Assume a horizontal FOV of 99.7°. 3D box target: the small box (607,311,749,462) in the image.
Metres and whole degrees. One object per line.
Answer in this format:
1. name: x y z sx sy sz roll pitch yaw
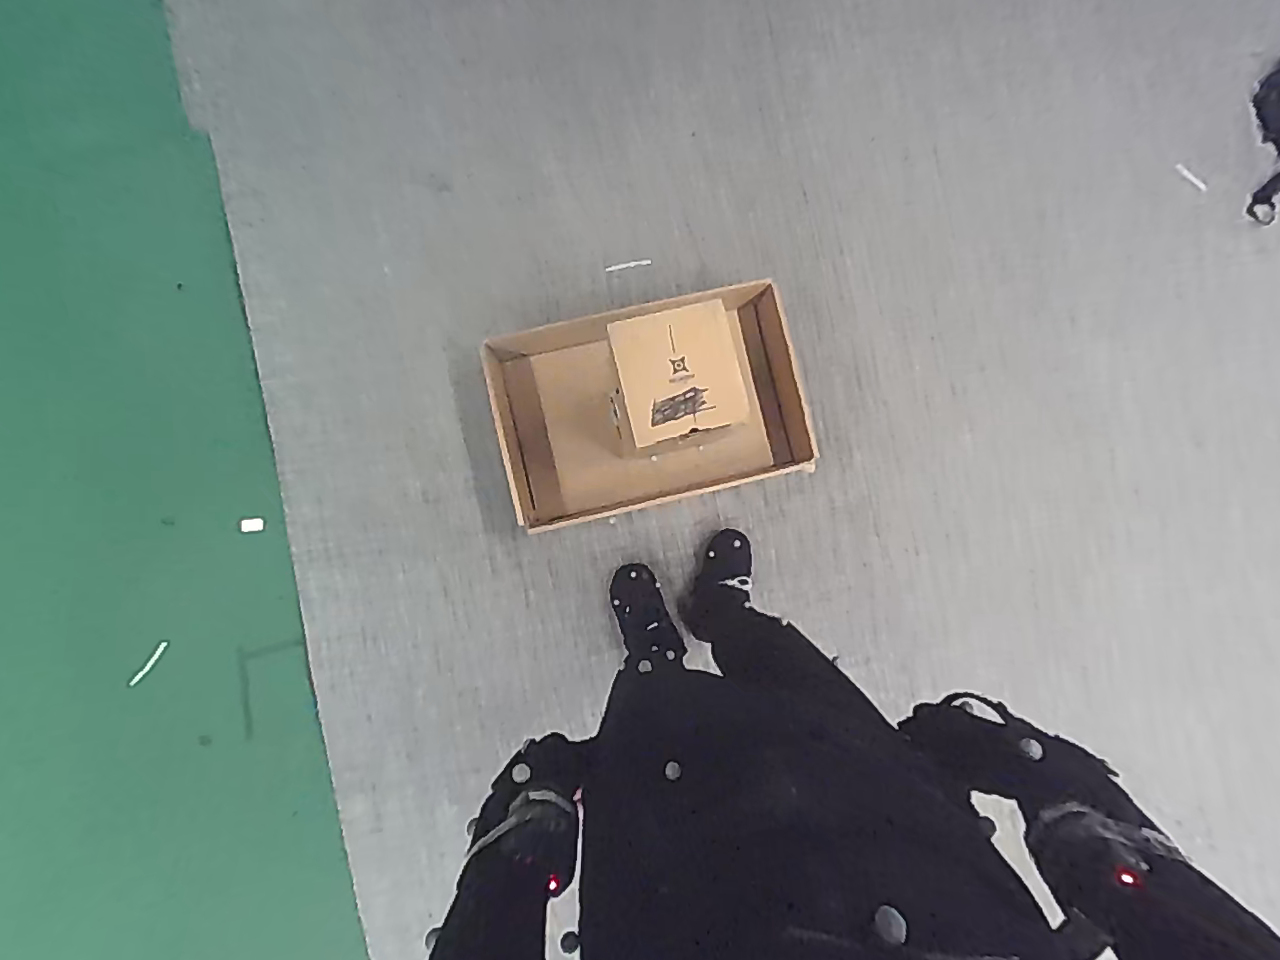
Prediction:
1. small box: 0.051 -0.129 0.819 0.168 0.176 0.179 -13 86 -3

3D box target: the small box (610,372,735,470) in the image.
1. small box: 0.050 -0.121 0.967 0.179 0.176 0.168 -17 88 -3
